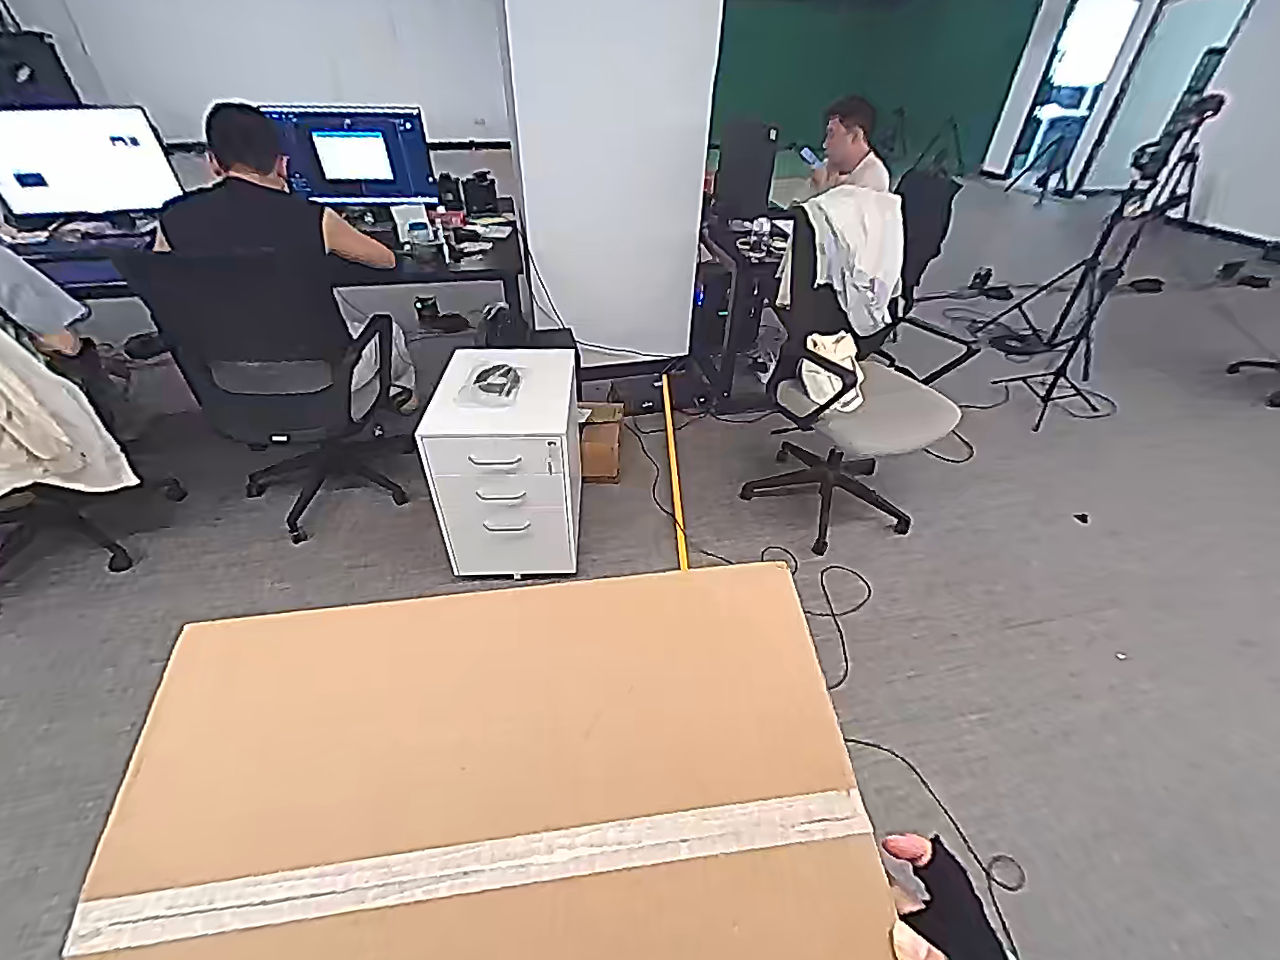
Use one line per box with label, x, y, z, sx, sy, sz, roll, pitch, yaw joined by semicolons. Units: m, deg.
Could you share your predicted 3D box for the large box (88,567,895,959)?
large box;-0.079;0.294;0.412;0.408;0.320;0.320;-5;55;-4
